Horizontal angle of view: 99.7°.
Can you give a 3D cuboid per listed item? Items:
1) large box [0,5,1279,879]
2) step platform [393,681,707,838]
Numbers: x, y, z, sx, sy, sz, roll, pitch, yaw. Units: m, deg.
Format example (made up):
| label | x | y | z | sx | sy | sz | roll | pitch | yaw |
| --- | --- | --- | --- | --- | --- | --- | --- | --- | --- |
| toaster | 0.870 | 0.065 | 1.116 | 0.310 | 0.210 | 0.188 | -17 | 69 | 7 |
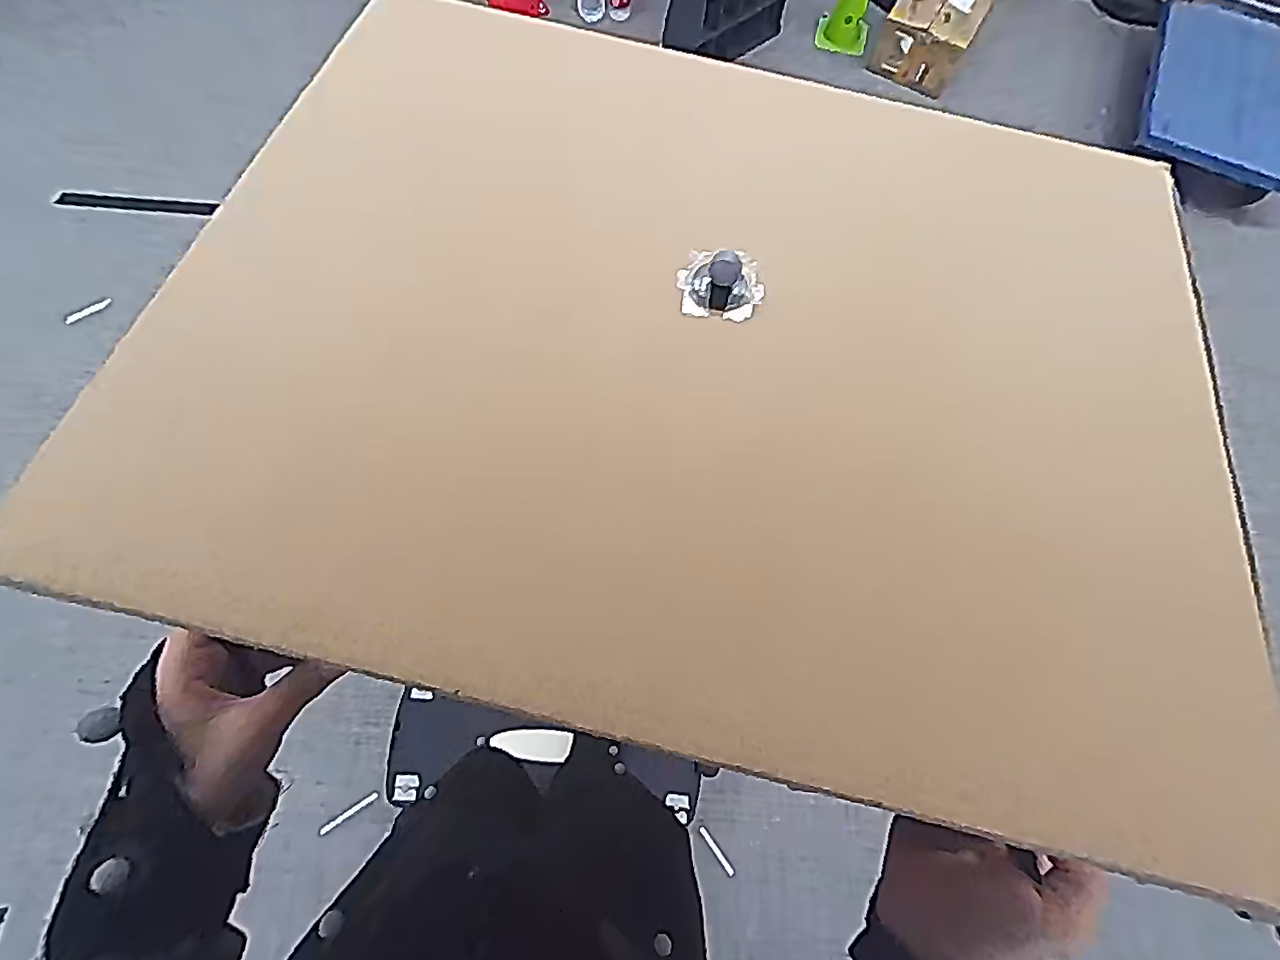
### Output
| label | x | y | z | sx | sy | sz | roll | pitch | yaw |
| --- | --- | --- | --- | --- | --- | --- | --- | --- | --- |
| large box | 0.004 | -0.014 | 0.348 | 0.408 | 0.320 | 0.320 | 13 | 69 | 2 |
| step platform | -0.190 | 0.591 | 1.238 | 0.684 | 0.204 | 0.286 | 10 | 72 | -1 |
